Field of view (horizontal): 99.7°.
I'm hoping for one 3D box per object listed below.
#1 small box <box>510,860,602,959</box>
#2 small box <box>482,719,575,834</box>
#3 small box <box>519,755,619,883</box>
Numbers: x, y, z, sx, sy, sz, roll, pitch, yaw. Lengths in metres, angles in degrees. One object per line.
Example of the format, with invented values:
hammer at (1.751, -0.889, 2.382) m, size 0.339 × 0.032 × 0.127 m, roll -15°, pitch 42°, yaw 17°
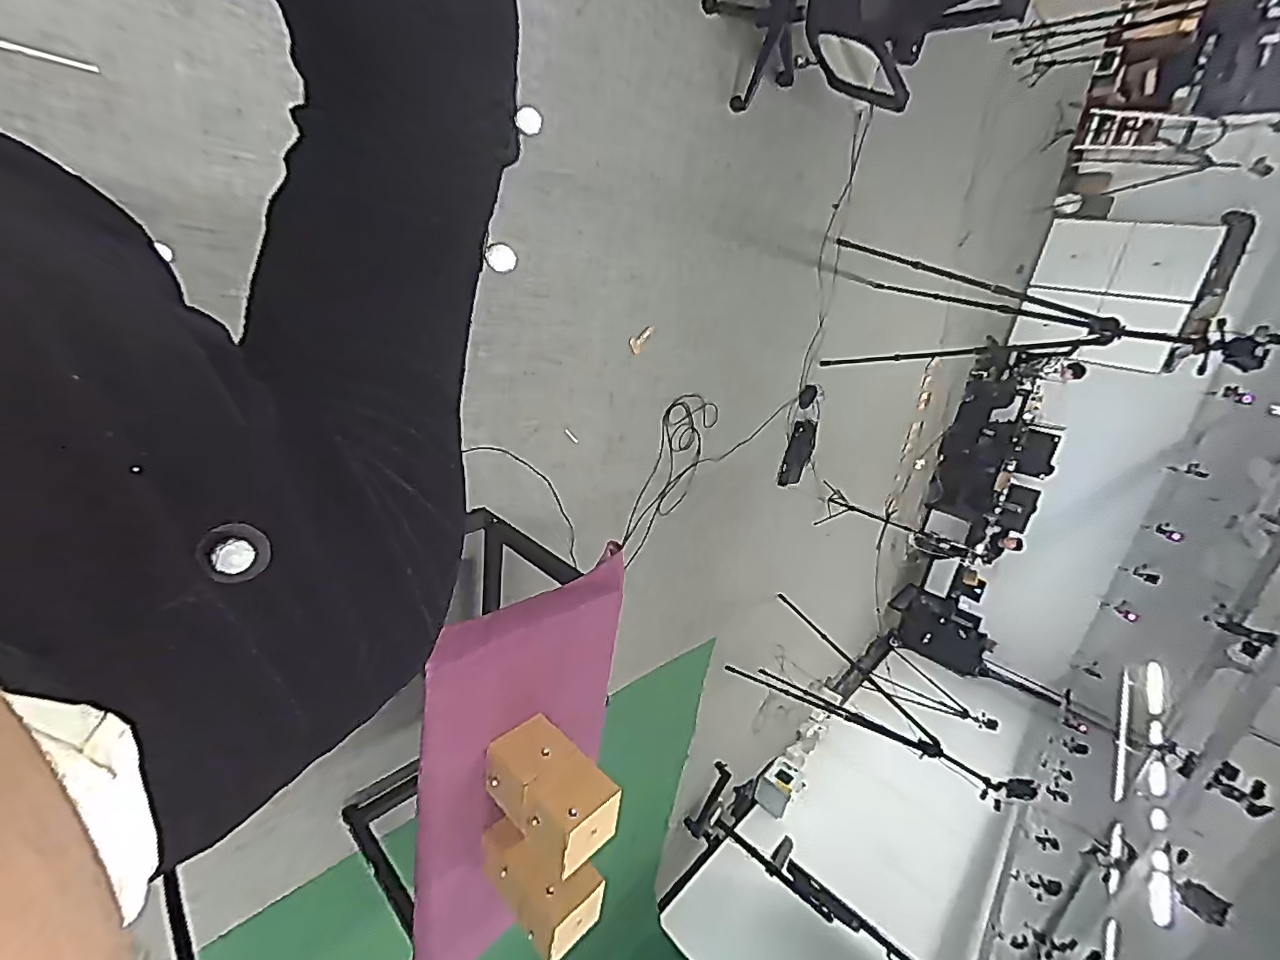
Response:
small box at (-0.232, 1.147, 1.467) m, size 0.179 × 0.176 × 0.168 m, roll -13°, pitch 119°, yaw -48°
small box at (-0.301, 0.786, 1.455) m, size 0.179 × 0.176 × 0.168 m, roll -14°, pitch 120°, yaw -46°
small box at (-0.181, 0.839, 1.359) m, size 0.179 × 0.176 × 0.168 m, roll -15°, pitch 121°, yaw -45°
